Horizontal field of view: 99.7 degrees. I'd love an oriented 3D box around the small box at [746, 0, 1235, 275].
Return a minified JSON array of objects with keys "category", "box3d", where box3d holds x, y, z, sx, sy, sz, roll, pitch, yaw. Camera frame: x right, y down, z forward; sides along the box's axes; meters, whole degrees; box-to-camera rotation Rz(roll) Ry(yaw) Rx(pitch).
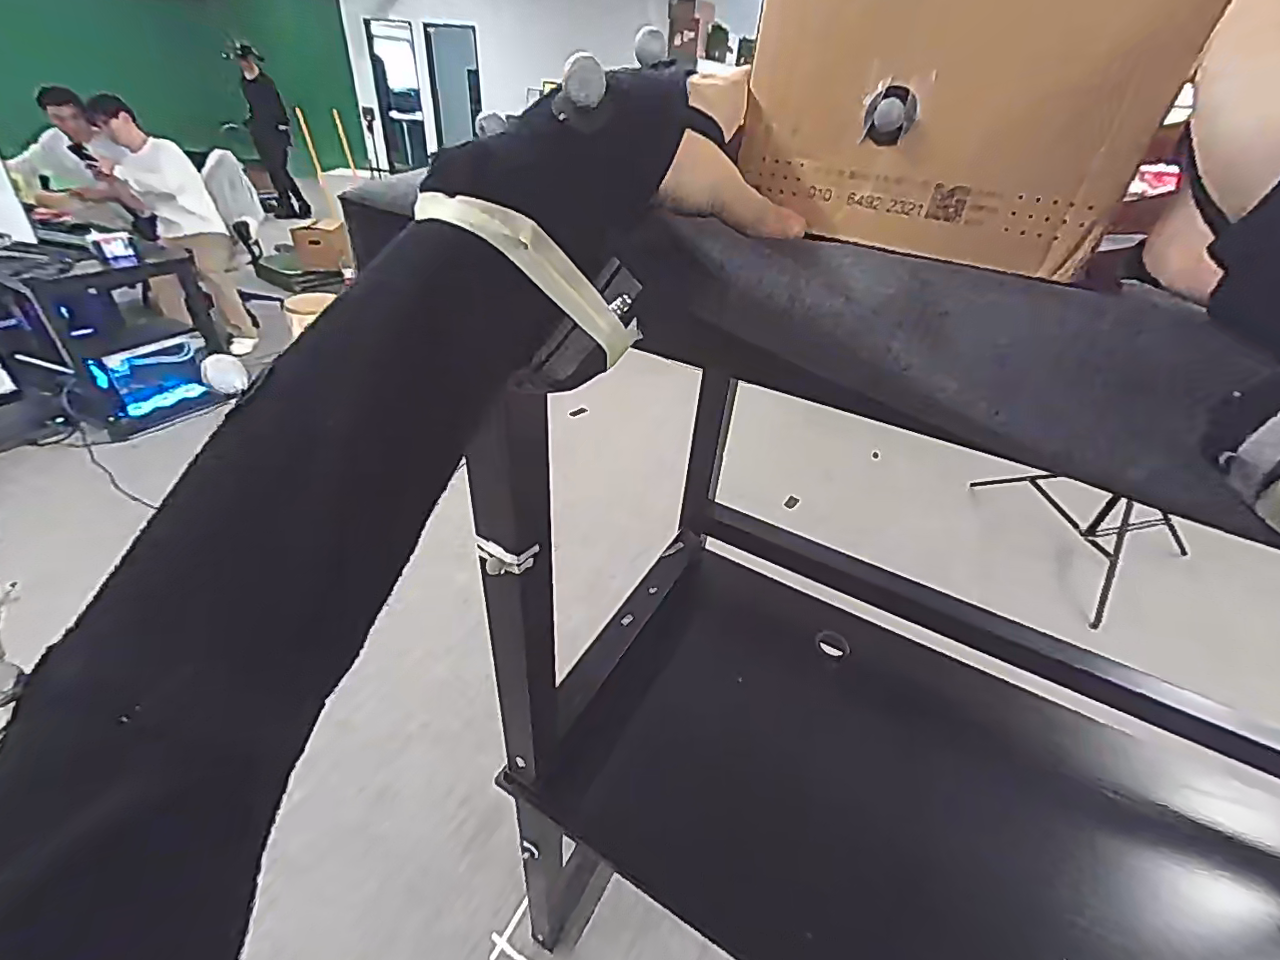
[{"category":"small box","box3d":[0.168,-0.219,0.276,0.168,0.176,0.179,21,37,20]}]
